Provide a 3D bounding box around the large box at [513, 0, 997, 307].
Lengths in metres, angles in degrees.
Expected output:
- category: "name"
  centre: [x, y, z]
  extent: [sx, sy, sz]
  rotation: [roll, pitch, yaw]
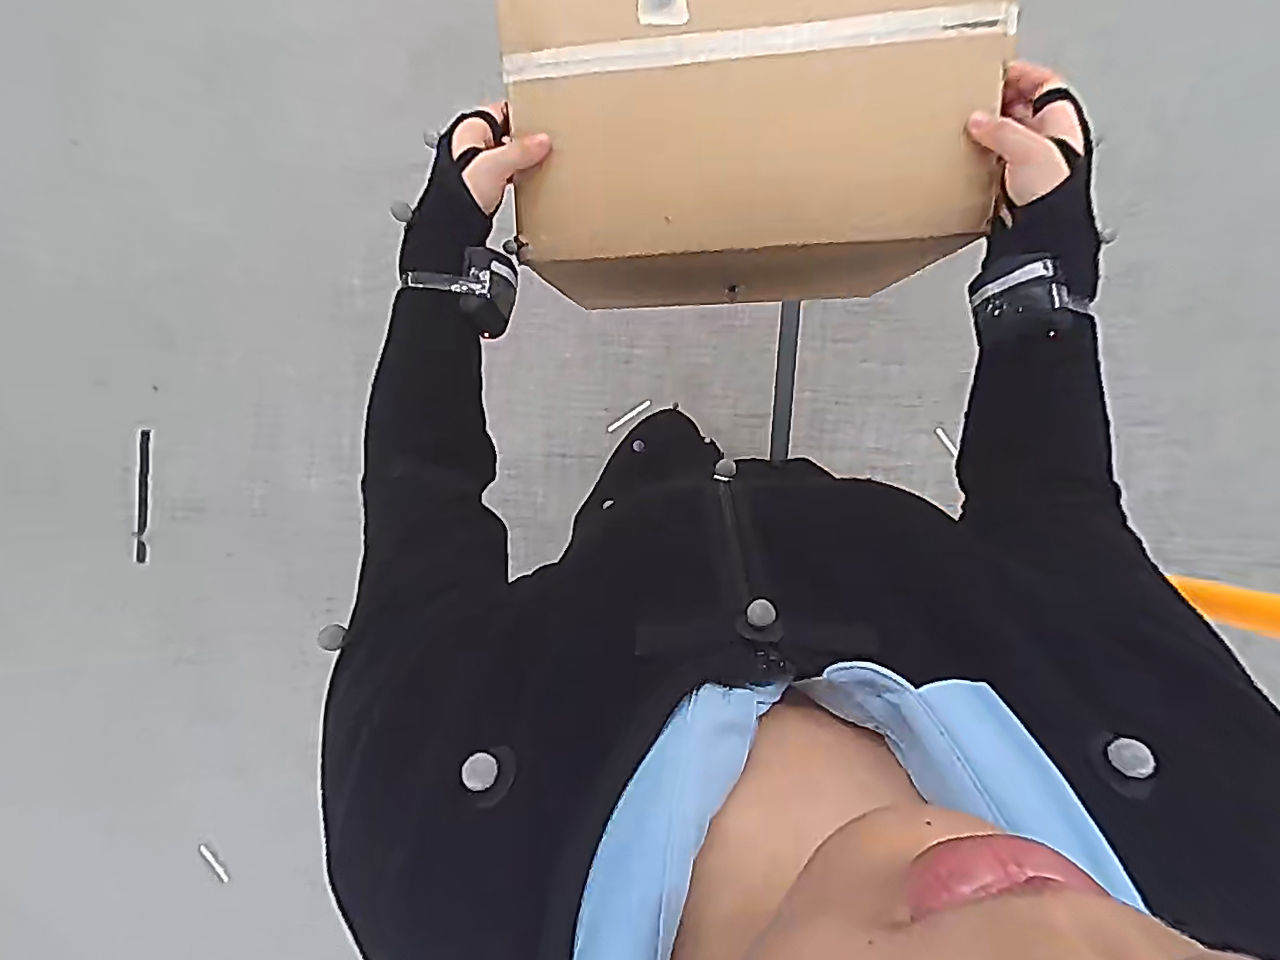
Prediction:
- category: "large box"
  centre: [0.107, -0.383, 0.602]
  extent: [0.408, 0.320, 0.320]
  rotation: [-1, 98, 7]
